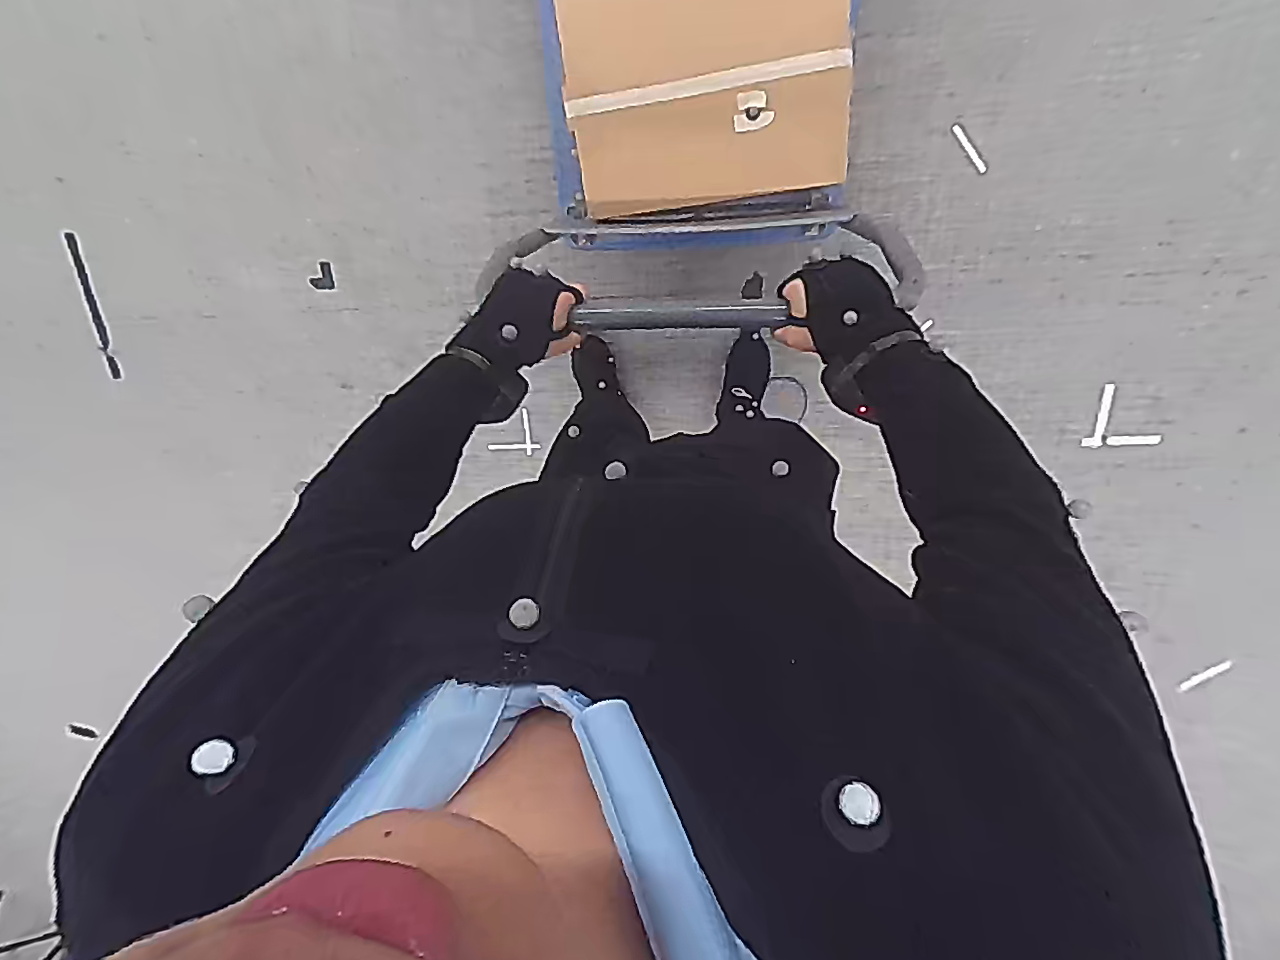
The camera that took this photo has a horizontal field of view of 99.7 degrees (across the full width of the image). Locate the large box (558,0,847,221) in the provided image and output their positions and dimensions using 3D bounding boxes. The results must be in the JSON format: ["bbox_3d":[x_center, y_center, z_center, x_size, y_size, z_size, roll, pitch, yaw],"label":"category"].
[{"bbox_3d":[0.111,-0.648,0.931,0.408,0.320,0.320,-5,117,8],"label":"large box"}]
